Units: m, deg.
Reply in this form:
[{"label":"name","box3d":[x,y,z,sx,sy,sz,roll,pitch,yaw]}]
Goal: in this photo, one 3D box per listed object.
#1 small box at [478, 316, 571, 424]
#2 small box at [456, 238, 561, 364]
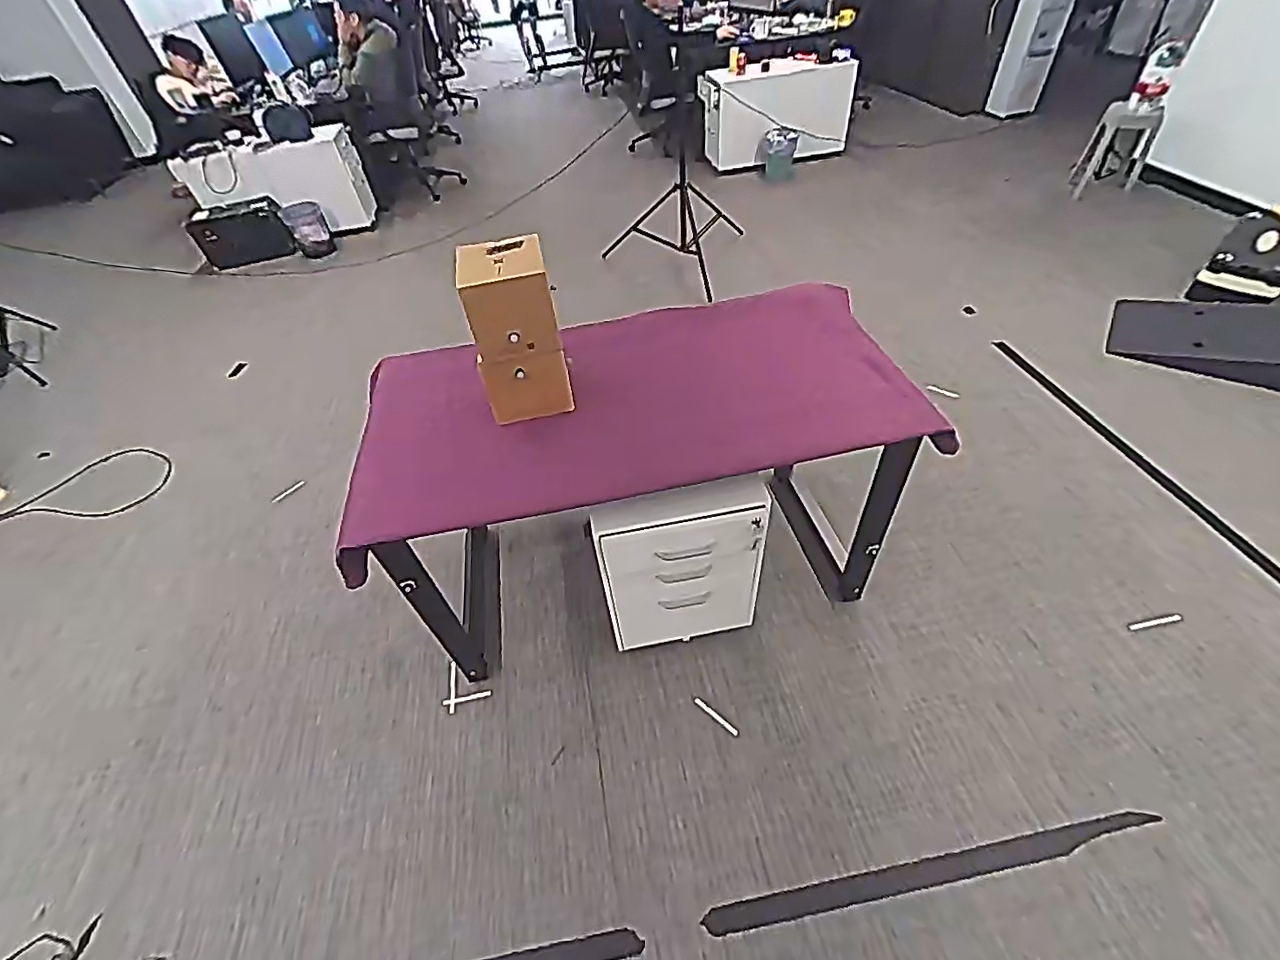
[{"label":"small box","box3d":[-0.254,-0.250,1.214,0.179,0.176,0.168,-12,47,-4]},{"label":"small box","box3d":[-0.262,-0.362,1.094,0.168,0.176,0.179,-13,48,-5]}]
